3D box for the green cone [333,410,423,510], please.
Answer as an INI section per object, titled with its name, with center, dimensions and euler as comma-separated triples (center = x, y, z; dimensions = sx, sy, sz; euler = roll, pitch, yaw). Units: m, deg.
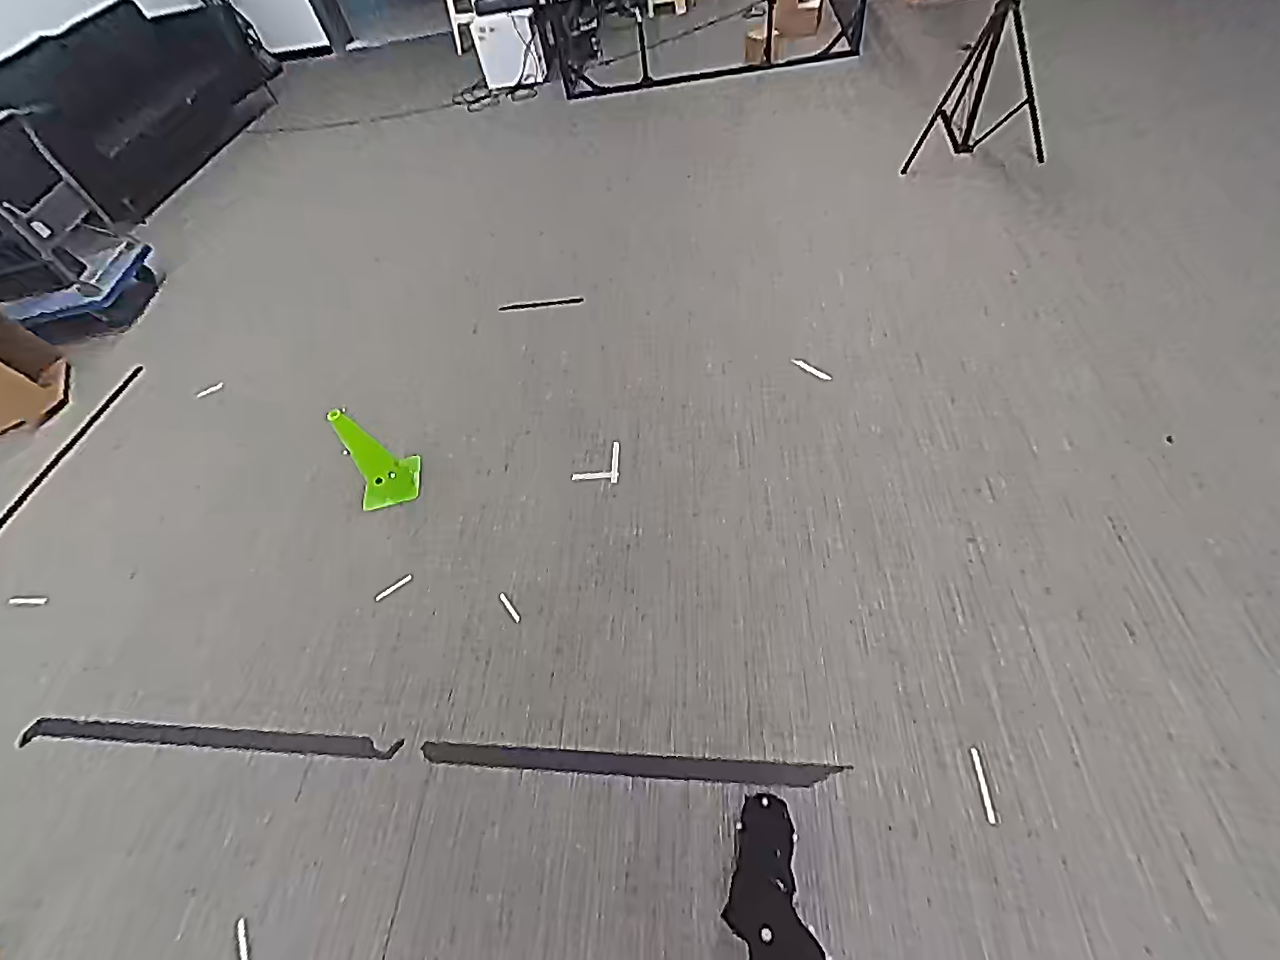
[green cone]
center = -0.899, -0.090, 1.790
dimensions = 0.202, 0.368, 0.200
euler = -14, 53, -1
